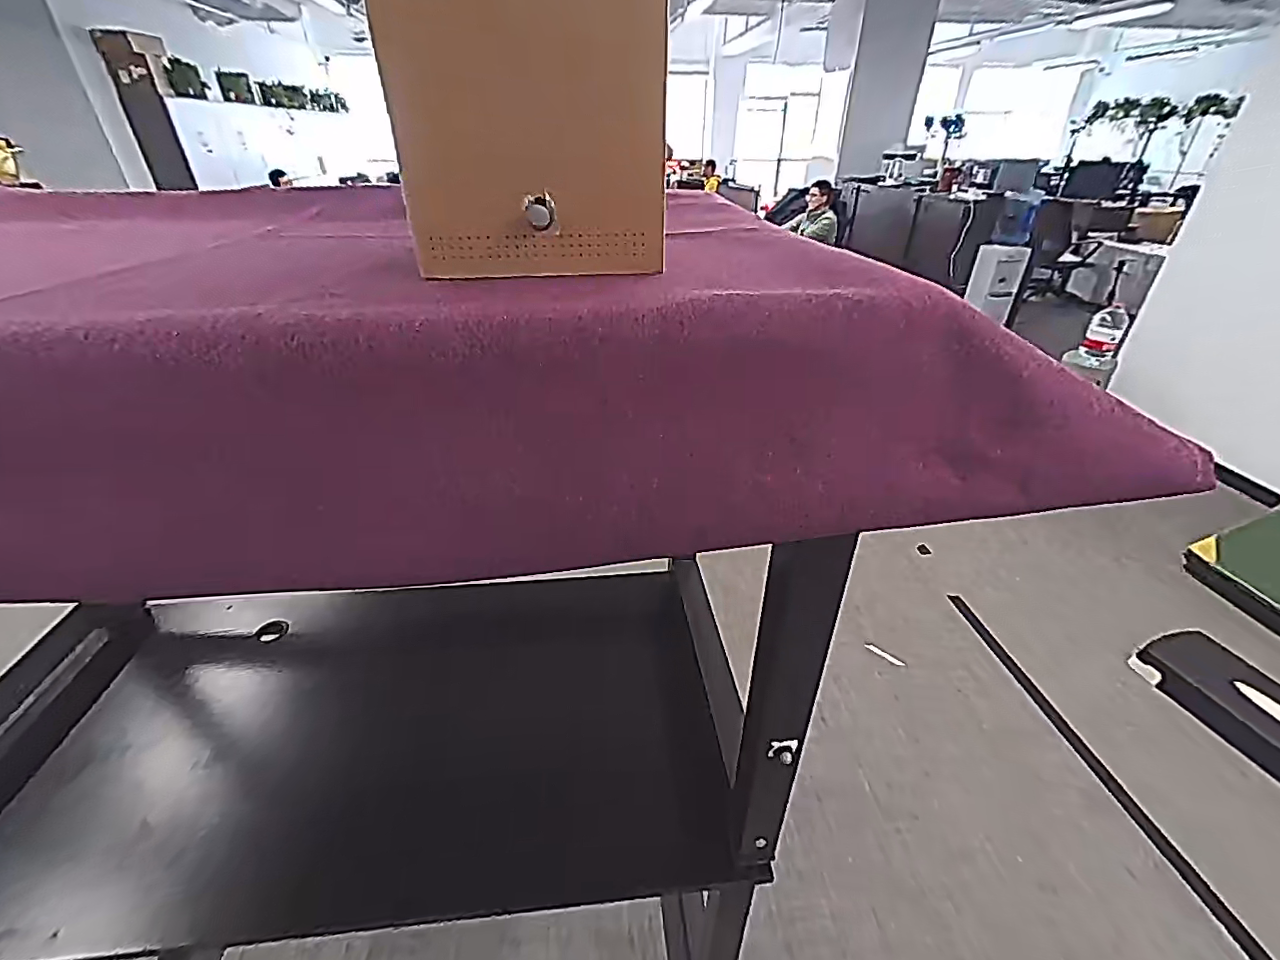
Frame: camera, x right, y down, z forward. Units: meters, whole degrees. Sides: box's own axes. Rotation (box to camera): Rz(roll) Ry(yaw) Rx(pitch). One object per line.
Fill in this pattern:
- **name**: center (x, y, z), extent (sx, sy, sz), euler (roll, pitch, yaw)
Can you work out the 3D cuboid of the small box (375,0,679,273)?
- **small box**: center (-0.072, -0.261, 0.411), extent (0.179, 0.176, 0.168), euler (-3, 31, -5)
